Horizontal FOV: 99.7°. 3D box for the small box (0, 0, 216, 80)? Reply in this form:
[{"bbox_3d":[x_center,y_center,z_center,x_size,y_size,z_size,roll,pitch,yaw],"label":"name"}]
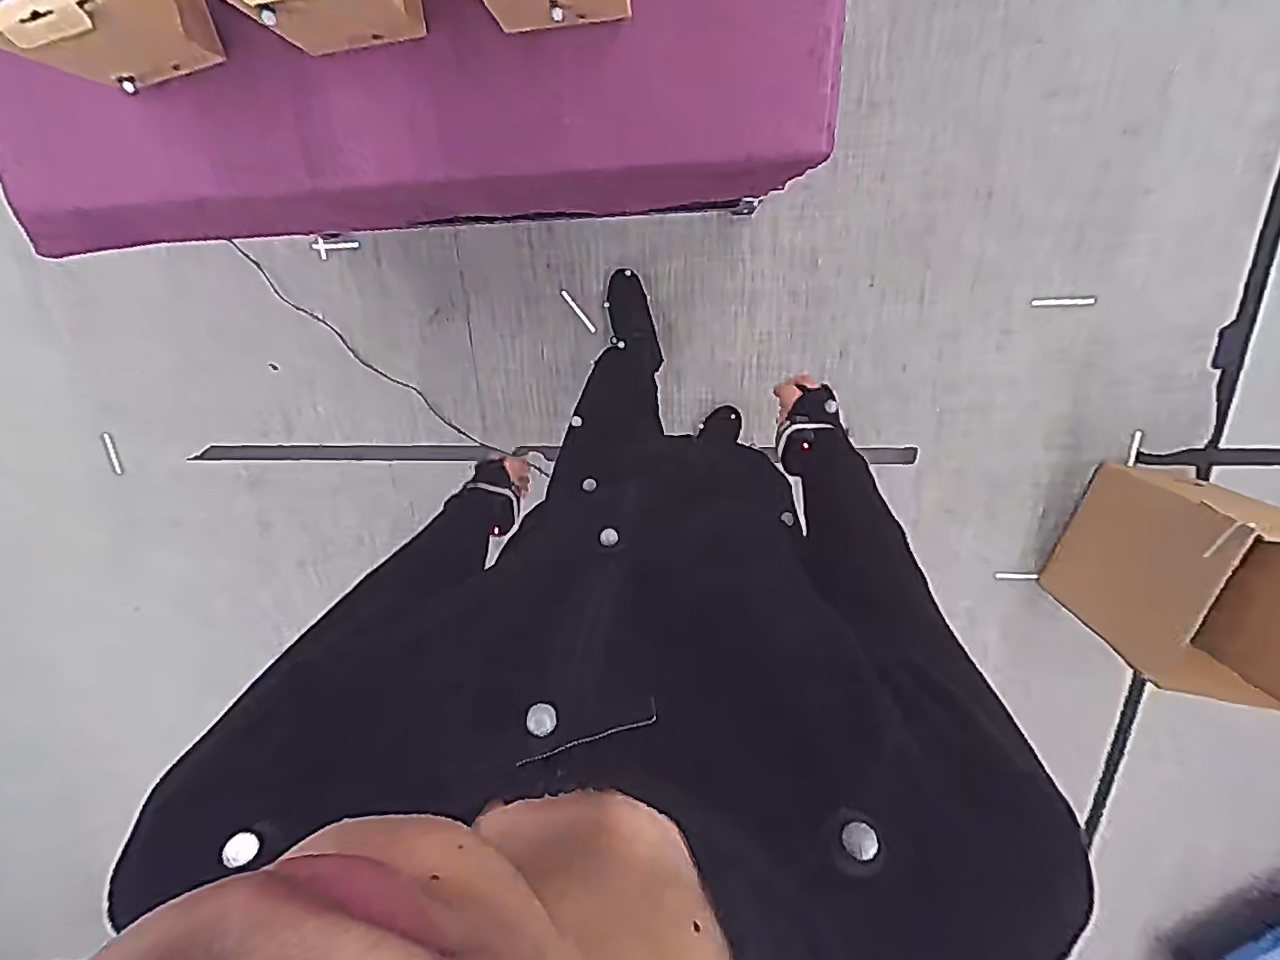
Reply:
[{"bbox_3d":[-0.658,-0.605,0.633,0.168,0.176,0.179,-10,107,8],"label":"small box"}]

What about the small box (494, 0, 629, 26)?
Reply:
[{"bbox_3d":[-0.104,-0.631,0.572,0.168,0.176,0.179,-2,109,6],"label":"small box"}]
